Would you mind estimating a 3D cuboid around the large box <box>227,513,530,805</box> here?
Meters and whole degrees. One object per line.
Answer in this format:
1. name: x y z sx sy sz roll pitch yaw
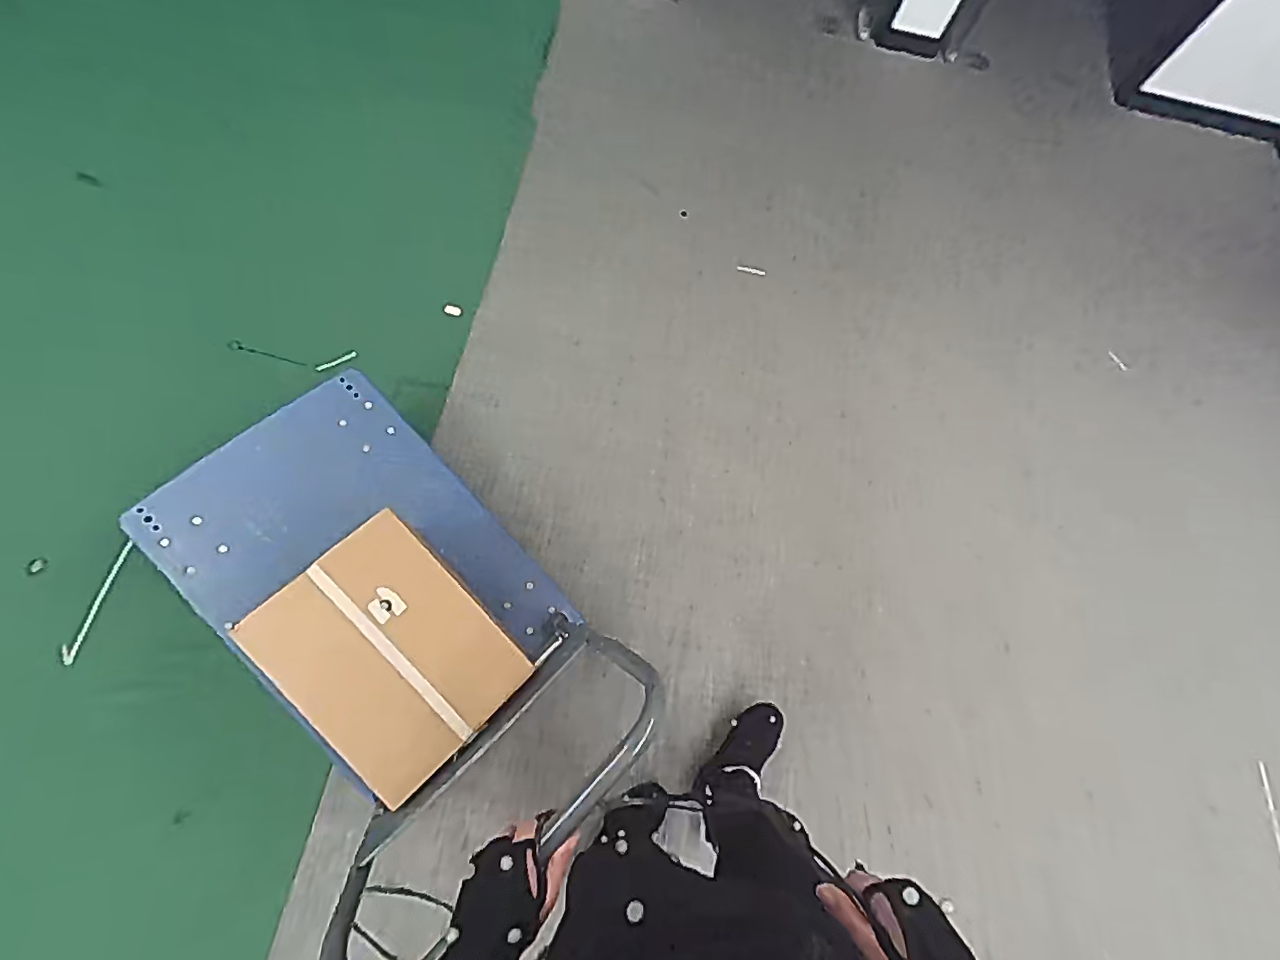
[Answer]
1. large box: -0.470 0.329 1.072 0.320 0.320 0.408 -43 91 -19
